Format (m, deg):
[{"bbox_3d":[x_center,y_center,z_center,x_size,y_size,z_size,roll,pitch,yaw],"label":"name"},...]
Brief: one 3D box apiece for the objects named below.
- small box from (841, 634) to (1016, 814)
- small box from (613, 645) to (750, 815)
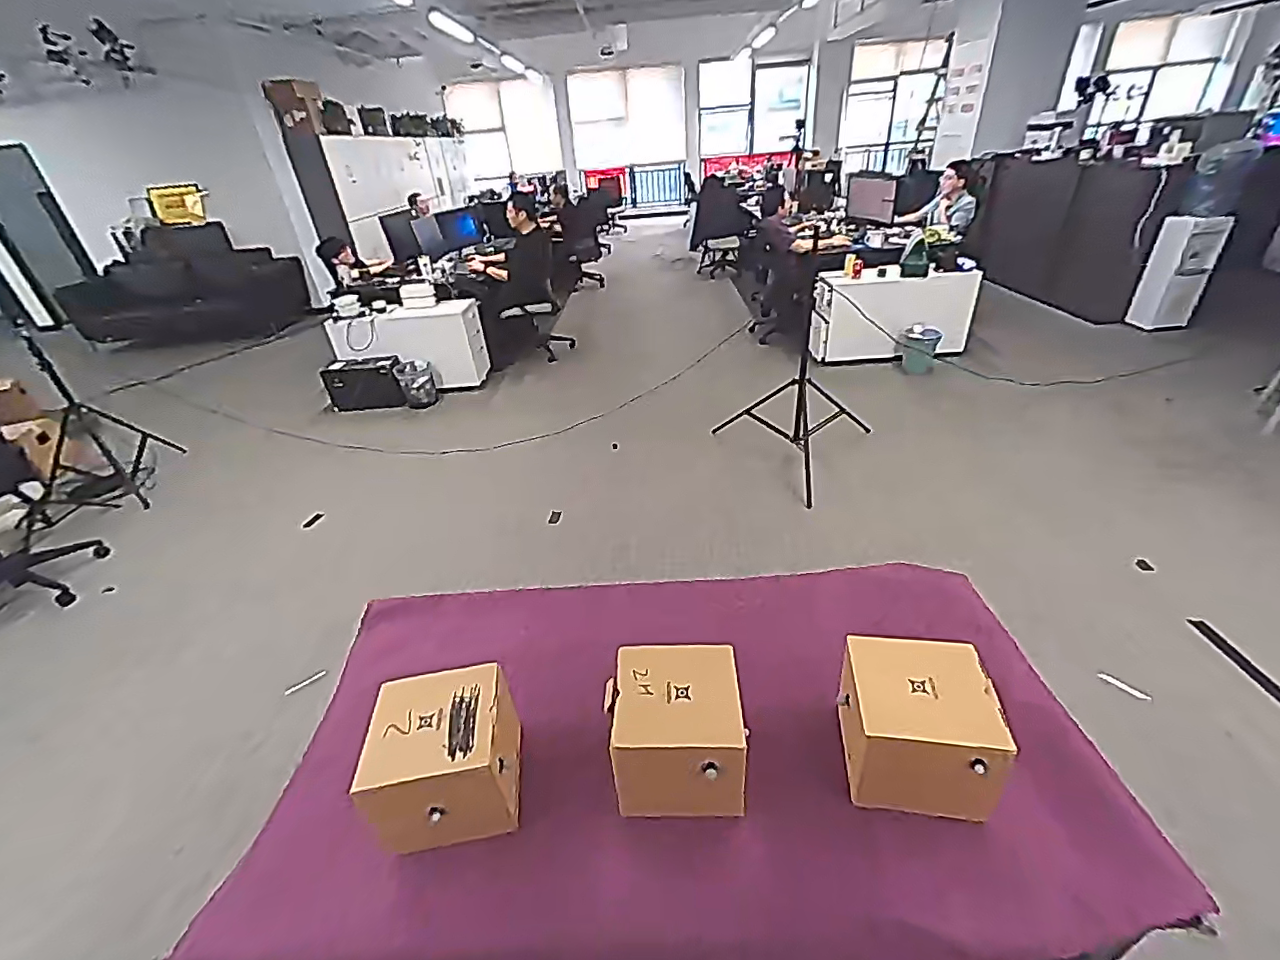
[{"bbox_3d":[0.389,0.344,0.771,0.179,0.176,0.168,1,32,11],"label":"small box"},{"bbox_3d":[0.060,0.364,0.792,0.179,0.176,0.168,-3,31,4],"label":"small box"}]
